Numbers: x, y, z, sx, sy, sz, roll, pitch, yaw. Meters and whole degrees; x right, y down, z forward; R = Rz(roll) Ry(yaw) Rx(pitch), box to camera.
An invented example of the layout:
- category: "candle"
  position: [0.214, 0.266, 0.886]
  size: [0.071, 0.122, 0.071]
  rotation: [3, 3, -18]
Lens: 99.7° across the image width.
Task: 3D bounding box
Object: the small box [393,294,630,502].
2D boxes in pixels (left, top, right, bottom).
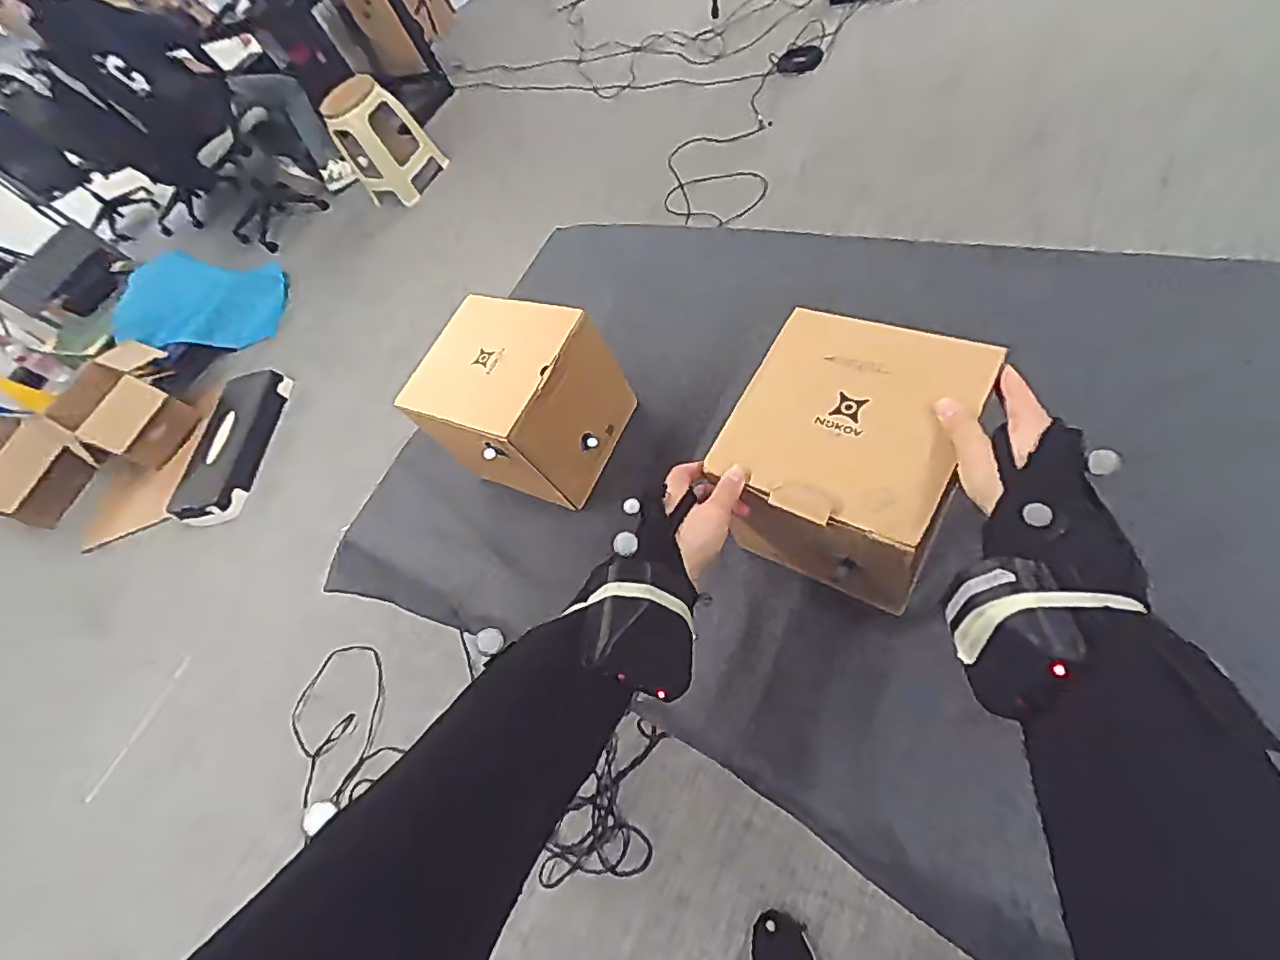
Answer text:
- category: "small box"
  position: [-0.140, -0.093, 0.643]
  size: [0.179, 0.176, 0.168]
  rotation: [17, 69, 27]
